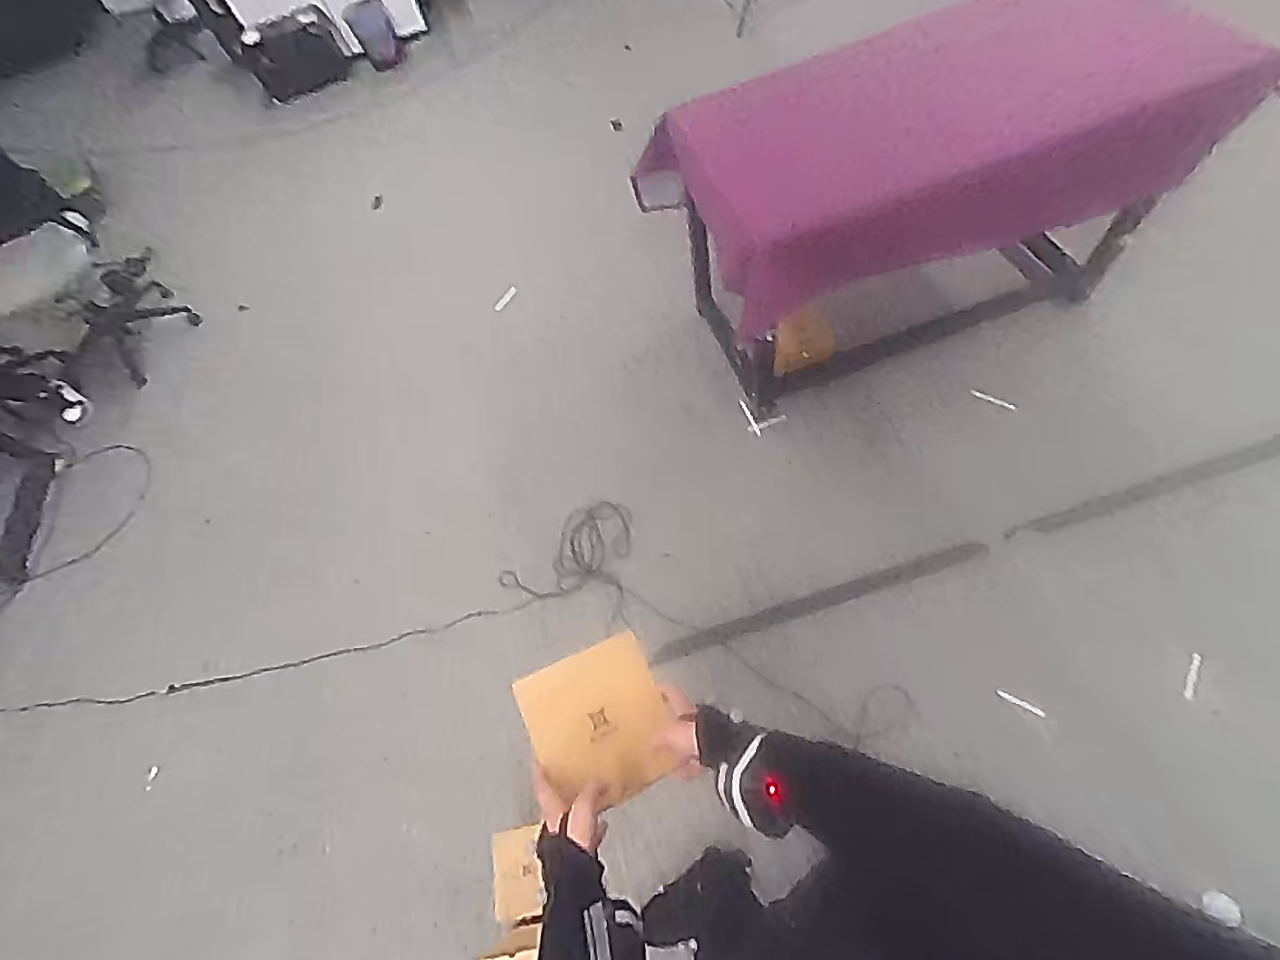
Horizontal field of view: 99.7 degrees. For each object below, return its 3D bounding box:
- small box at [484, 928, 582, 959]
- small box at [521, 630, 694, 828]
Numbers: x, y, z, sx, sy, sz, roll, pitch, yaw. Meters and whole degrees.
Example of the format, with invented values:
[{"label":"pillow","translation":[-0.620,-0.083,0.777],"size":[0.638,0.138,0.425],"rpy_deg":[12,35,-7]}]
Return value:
[{"label":"small box","translation":[-0.206,0.995,1.036],"size":[0.168,0.176,0.179],"rpy_deg":[-16,63,3]},{"label":"small box","translation":[-0.055,0.325,0.724],"size":[0.168,0.176,0.179],"rpy_deg":[-19,71,-18]}]
